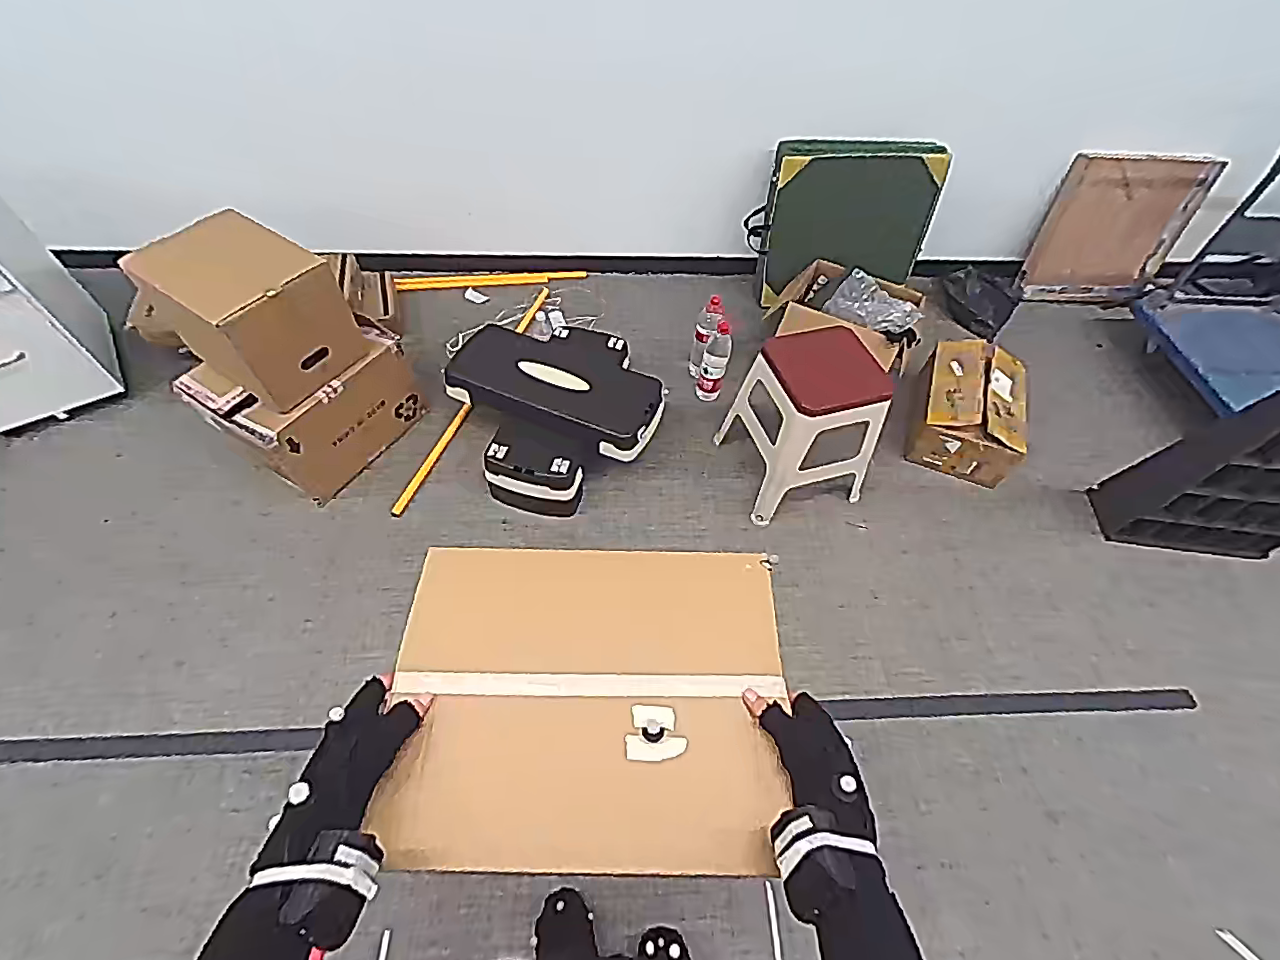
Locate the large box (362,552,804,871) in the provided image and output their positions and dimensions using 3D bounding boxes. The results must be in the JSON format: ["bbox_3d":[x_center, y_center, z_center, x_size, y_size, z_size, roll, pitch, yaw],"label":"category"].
[{"bbox_3d":[-0.053,0.302,0.685,0.408,0.320,0.320,2,55,0],"label":"large box"}]

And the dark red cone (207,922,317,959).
[{"bbox_3d":[-0.726,0.872,0.884,0.201,0.394,0.202,5,55,0],"label":"dark red cone"}]
